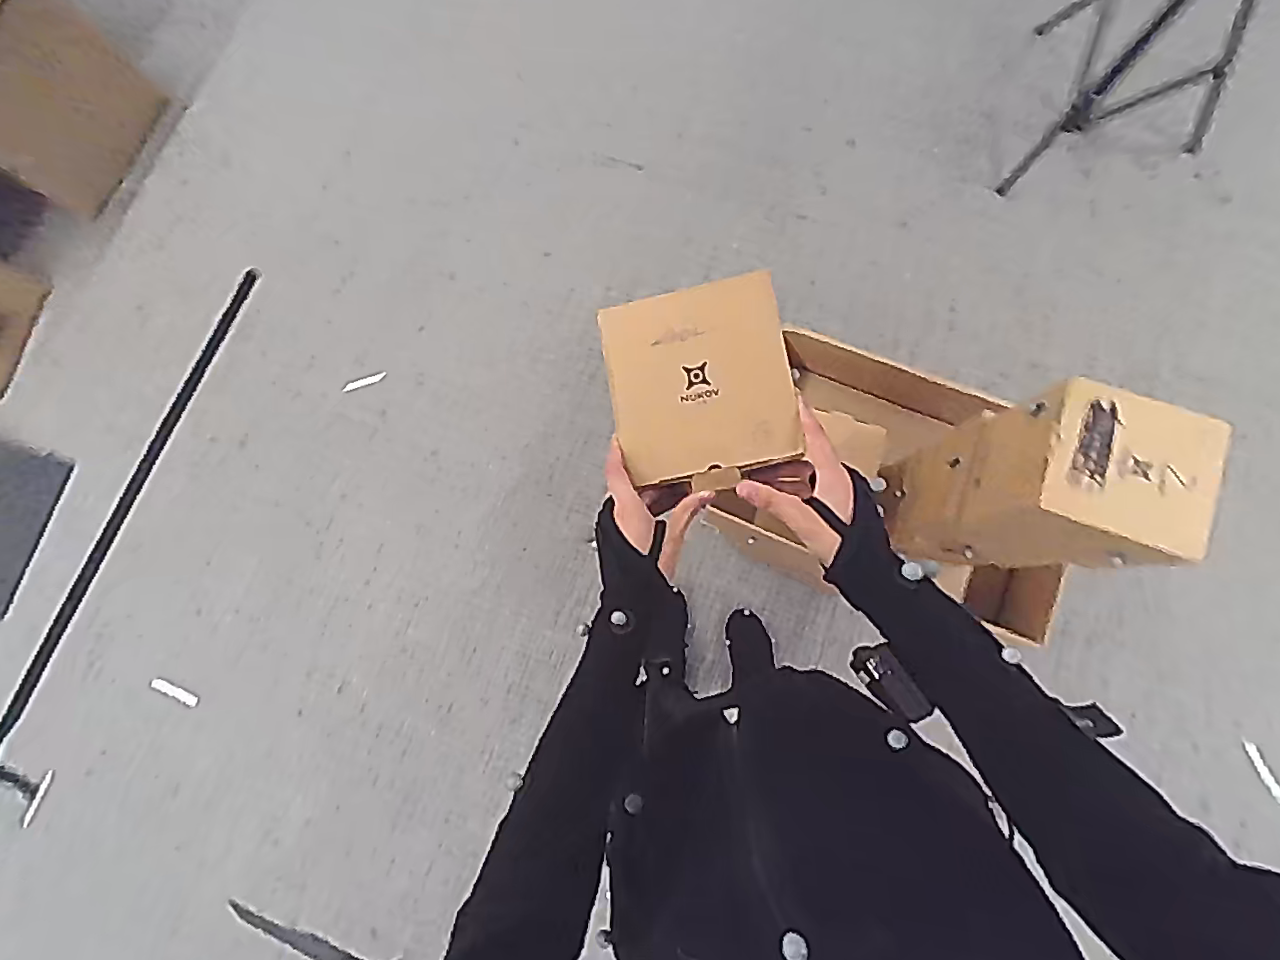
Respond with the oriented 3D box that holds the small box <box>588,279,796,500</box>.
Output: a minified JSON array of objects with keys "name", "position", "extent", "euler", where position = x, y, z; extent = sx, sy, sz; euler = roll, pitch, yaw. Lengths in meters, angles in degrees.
[{"name":"small box","position":[0.057,-0.079,0.570],"extent":[0.168,0.176,0.179],"euler":[-12,85,7]}]

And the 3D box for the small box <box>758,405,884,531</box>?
[{"name":"small box","position":[0.333,-0.015,1.025],"extent":[0.168,0.176,0.179],"euler":[17,80,7]}]

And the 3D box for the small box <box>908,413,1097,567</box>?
[{"name":"small box","position":[0.546,0.024,0.839],"extent":[0.168,0.176,0.179],"euler":[21,82,9]}]
